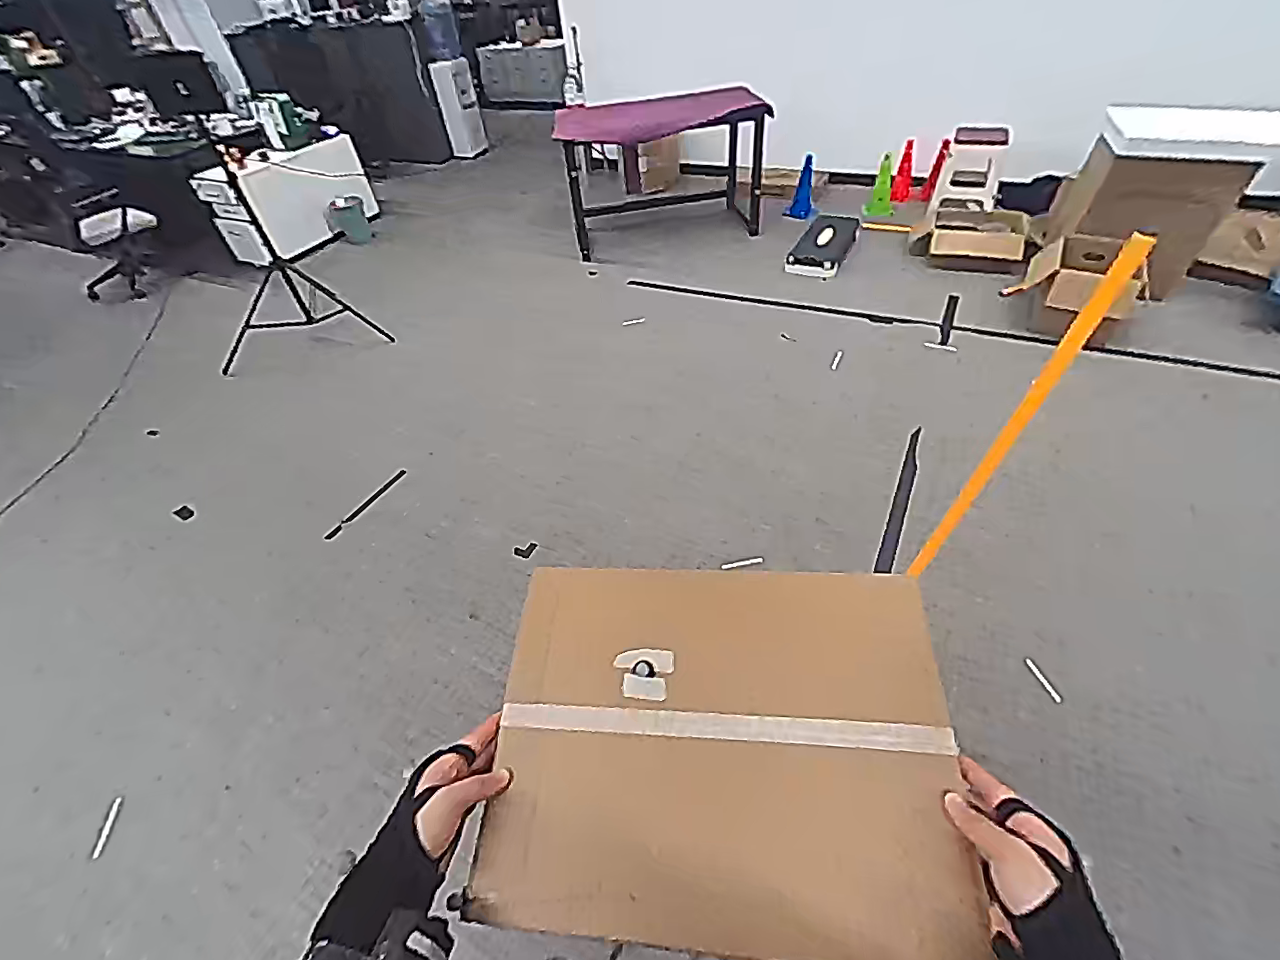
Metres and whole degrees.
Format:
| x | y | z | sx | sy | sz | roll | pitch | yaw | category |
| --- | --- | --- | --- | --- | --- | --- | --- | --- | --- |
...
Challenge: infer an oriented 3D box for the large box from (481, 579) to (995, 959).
| x | y | z | sx | sy | sz | roll | pitch | yaw | category |
| --- | --- | --- | --- | --- | --- | --- | --- | --- | --- |
| 0.096 | 0.319 | 0.623 | 0.408 | 0.320 | 0.320 | -1 | 54 | 10 | large box |
